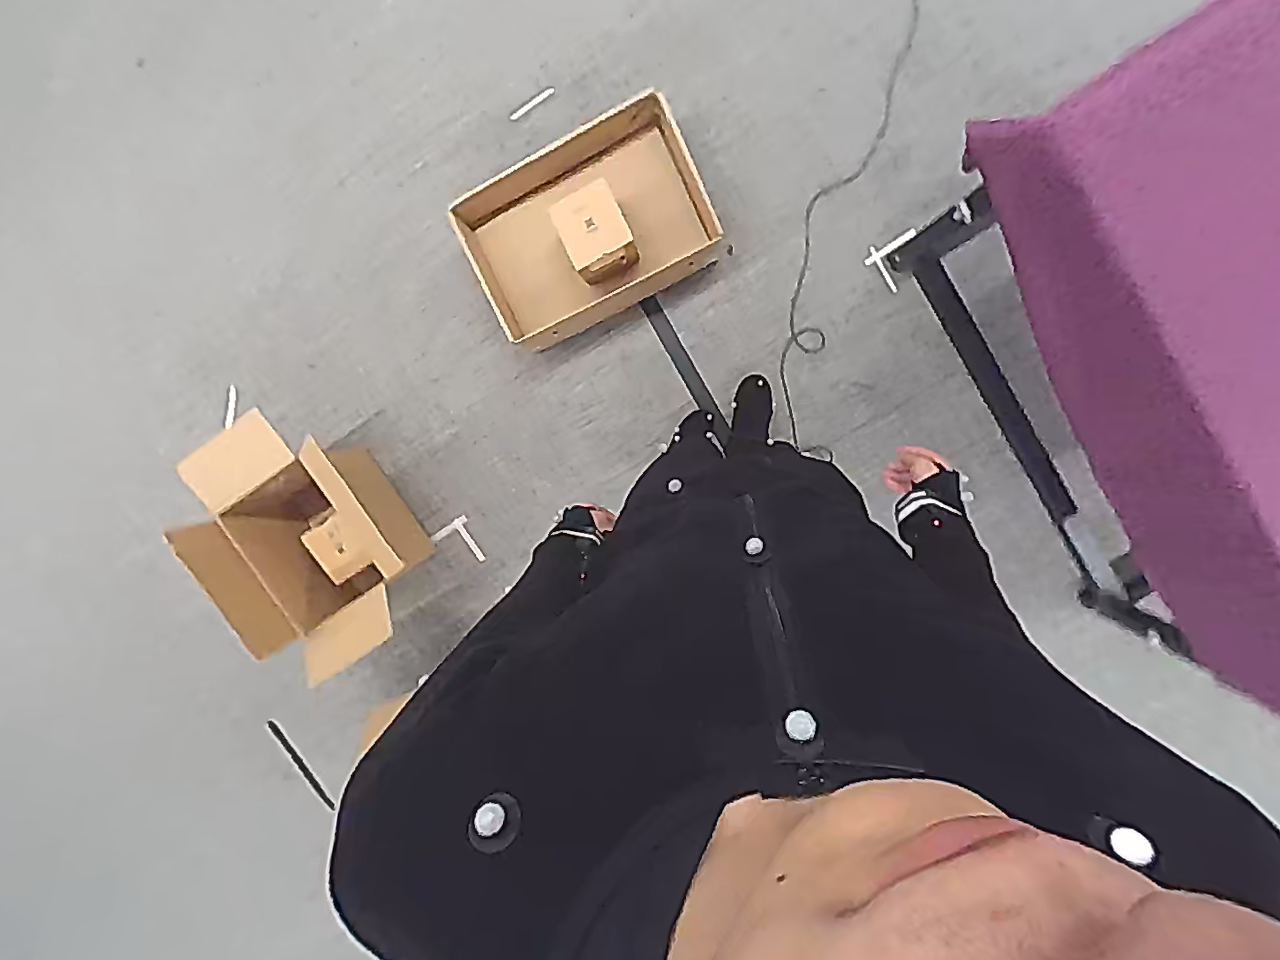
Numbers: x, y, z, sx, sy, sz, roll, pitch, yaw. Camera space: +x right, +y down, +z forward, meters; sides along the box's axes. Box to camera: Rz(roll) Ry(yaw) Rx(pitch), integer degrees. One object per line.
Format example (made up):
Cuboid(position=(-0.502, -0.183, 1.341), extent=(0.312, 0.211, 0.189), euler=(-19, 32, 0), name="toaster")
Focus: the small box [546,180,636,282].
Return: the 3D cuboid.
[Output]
Cuboid(position=(-0.121, -0.643, 1.427), extent=(0.168, 0.176, 0.179), euler=(-25, 95, 7), name="small box")
